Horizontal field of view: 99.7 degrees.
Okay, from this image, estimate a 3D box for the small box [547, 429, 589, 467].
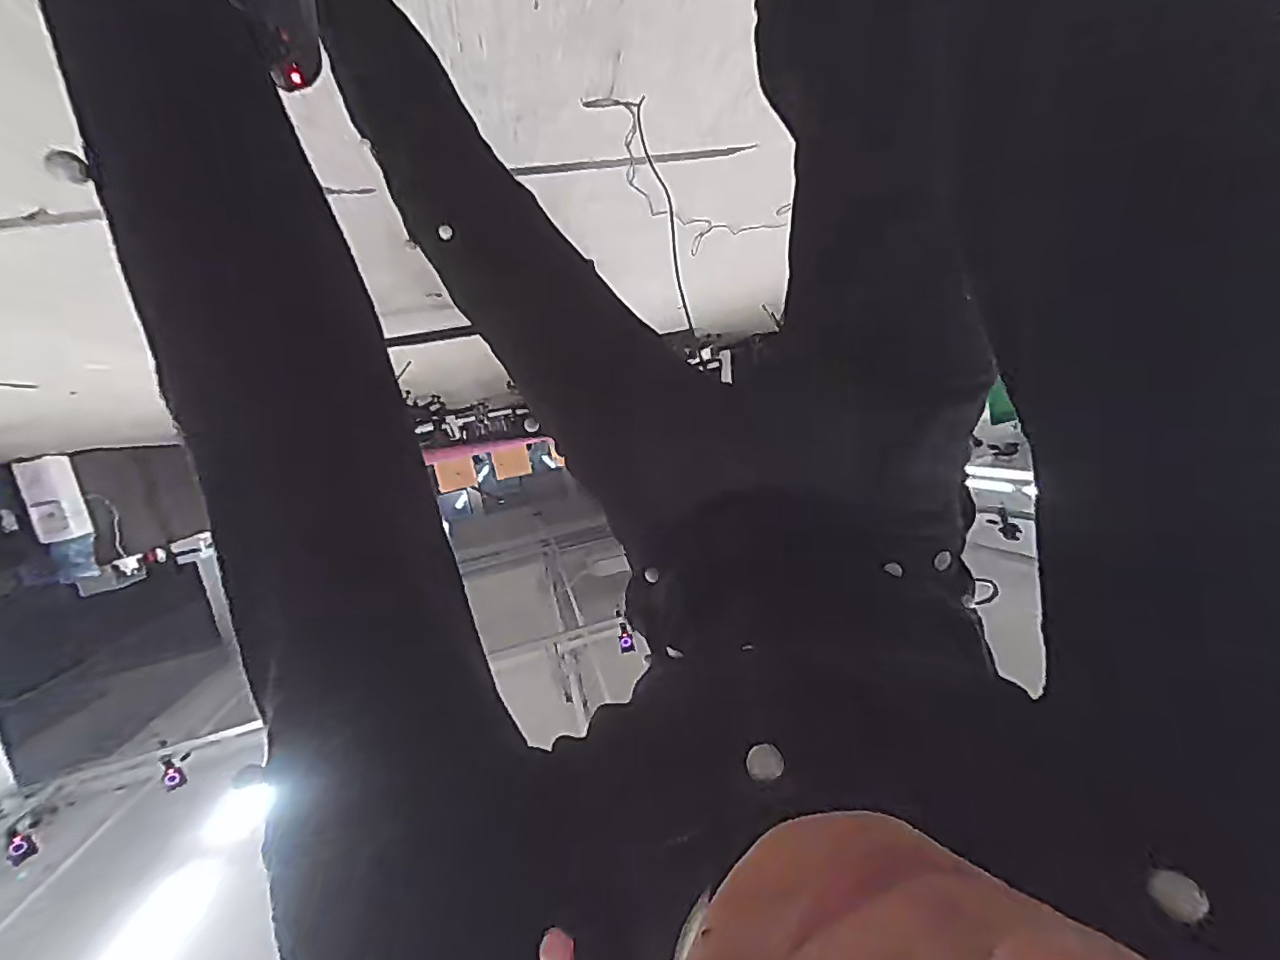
[{"bbox_3d":[-0.381,-0.171,2.833,0.168,0.176,0.179,-14,-172,-19],"label":"small box"}]
